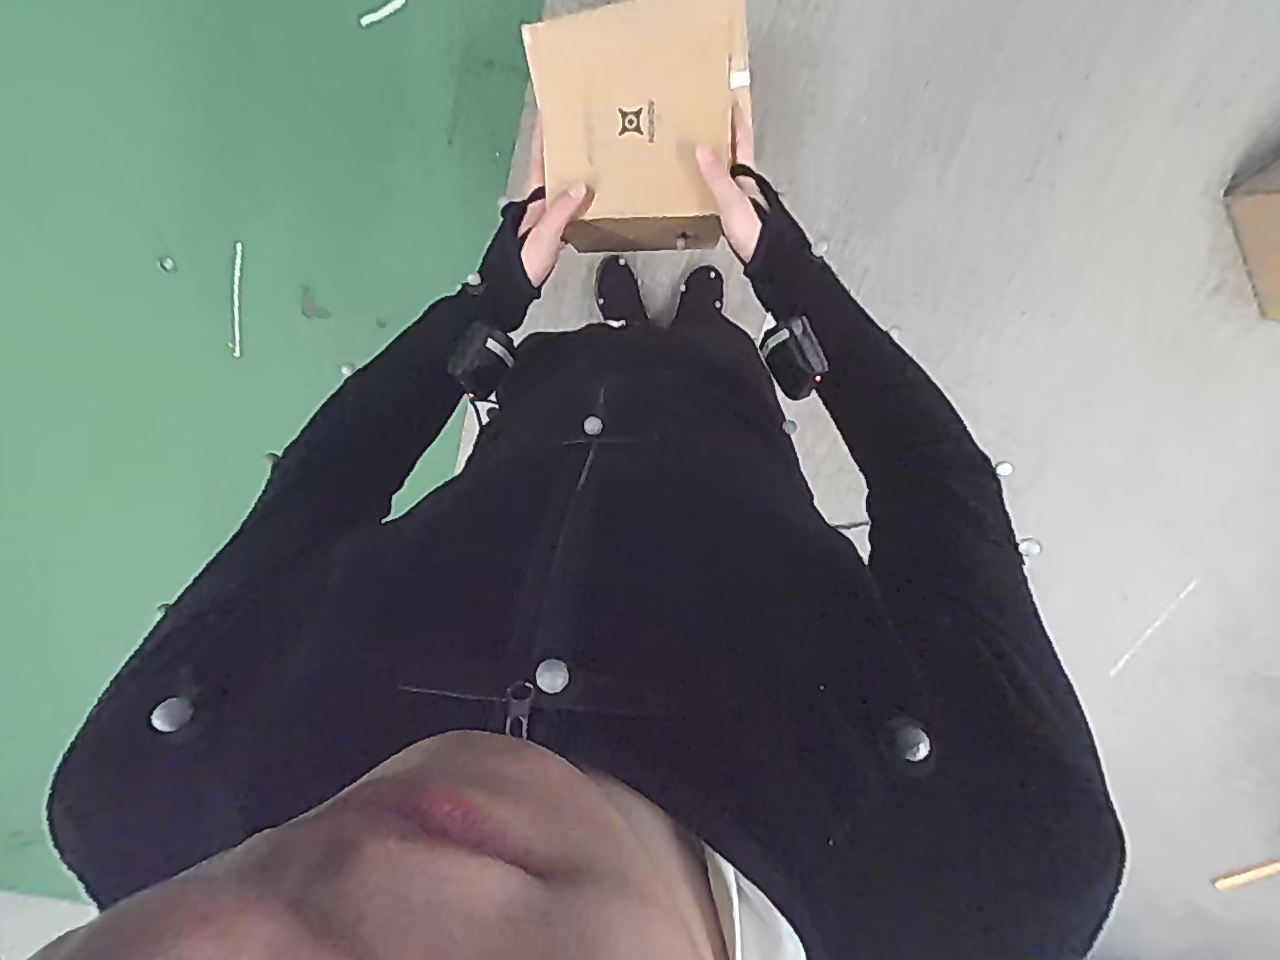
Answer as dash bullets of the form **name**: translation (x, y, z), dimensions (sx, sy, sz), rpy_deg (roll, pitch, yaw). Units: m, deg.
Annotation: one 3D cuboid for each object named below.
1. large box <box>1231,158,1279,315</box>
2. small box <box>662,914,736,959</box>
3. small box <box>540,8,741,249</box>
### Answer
- **large box**: translation (1.716, -0.607, 1.238), dimensions (0.320, 0.320, 0.408), rpy_deg (-38, 109, 16)
- **small box**: translation (0.159, 1.313, 1.449), dimensions (0.168, 0.176, 0.179), rpy_deg (14, 117, -6)
- **small box**: translation (0.004, -0.343, 0.561), dimensions (0.179, 0.176, 0.168), rpy_deg (0, 103, 4)
